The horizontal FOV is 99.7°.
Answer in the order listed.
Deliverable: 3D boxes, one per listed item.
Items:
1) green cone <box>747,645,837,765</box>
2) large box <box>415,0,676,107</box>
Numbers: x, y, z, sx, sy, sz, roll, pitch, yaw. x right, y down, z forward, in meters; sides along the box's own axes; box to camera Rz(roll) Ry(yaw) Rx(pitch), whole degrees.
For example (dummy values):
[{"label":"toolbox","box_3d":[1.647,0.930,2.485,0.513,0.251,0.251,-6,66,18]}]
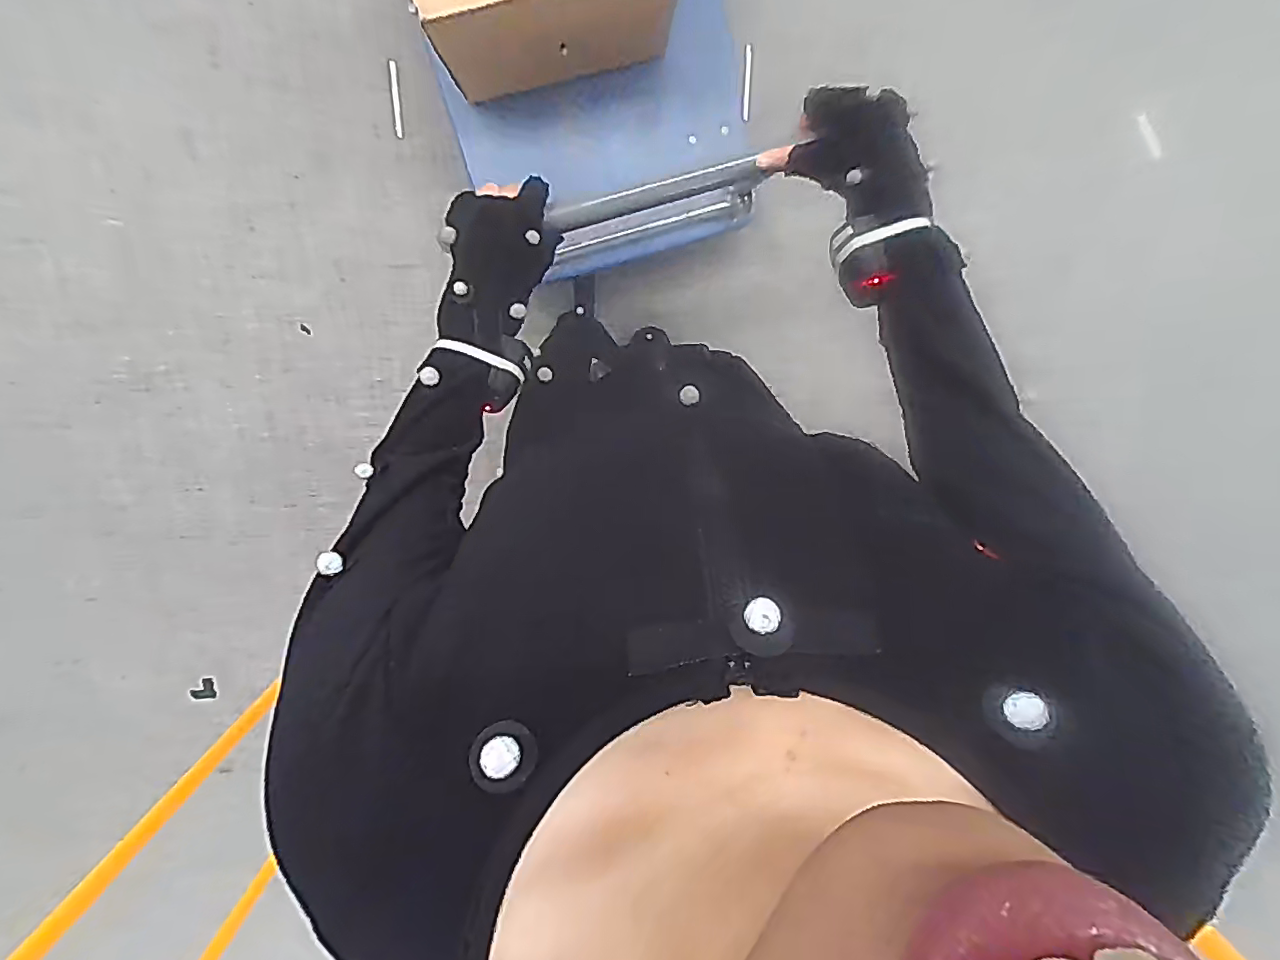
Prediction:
[{"label":"green cone","box_3d":[0.448,0.643,1.500,0.202,0.368,0.200,2,105,-5]},{"label":"large box","box_3d":[-0.171,-0.895,0.901,0.408,0.320,0.320,-14,105,1]}]
